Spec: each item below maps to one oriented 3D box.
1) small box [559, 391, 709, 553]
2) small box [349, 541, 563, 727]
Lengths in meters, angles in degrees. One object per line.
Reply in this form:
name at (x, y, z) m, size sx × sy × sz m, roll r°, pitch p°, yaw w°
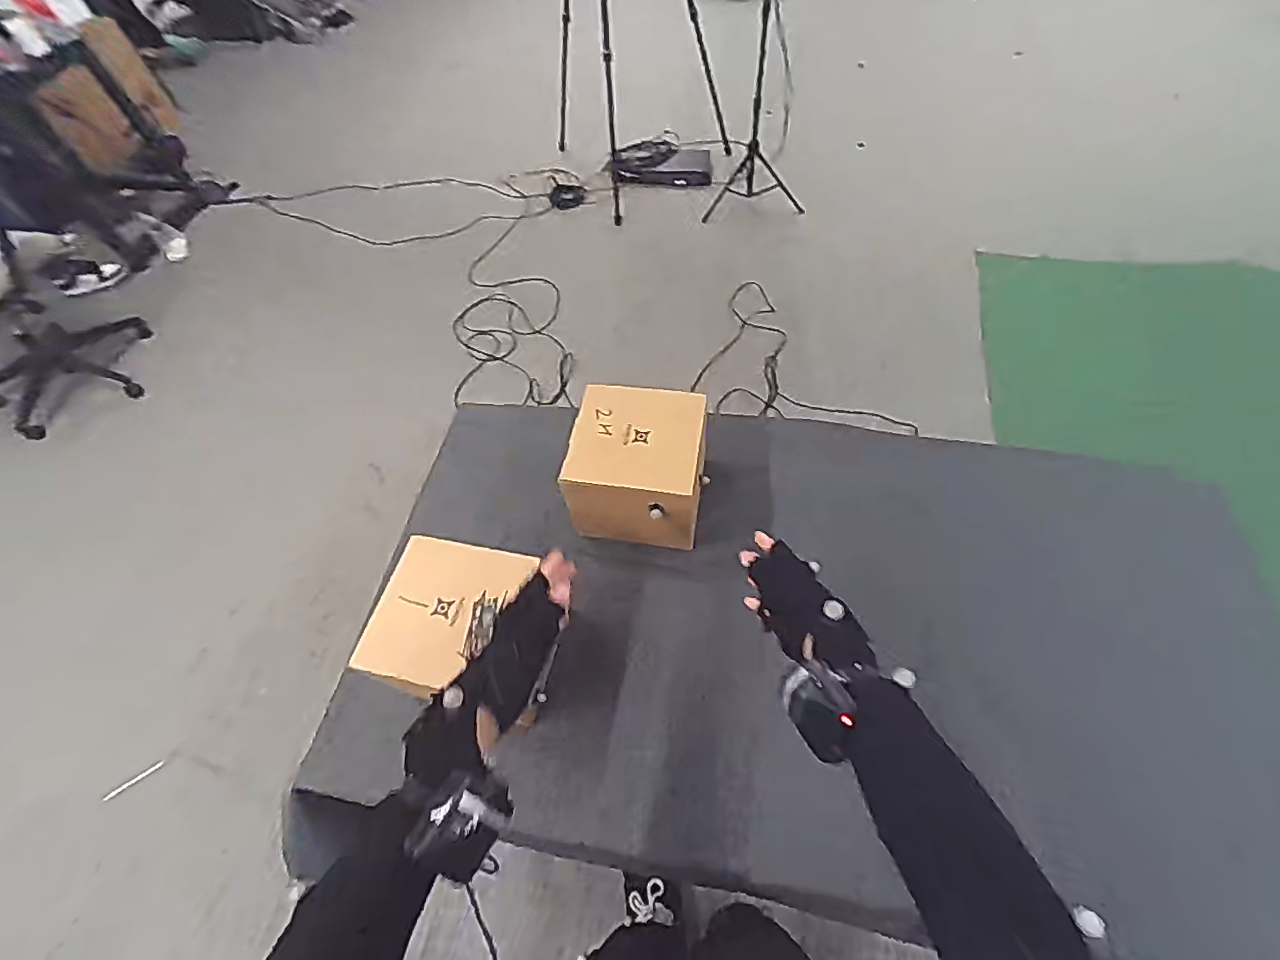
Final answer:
small box at (0.001, -0.006, 0.789) m, size 0.179 × 0.176 × 0.168 m, roll 7°, pitch 59°, yaw 9°
small box at (-0.210, 0.199, 0.678) m, size 0.179 × 0.176 × 0.168 m, roll 9°, pitch 58°, yaw 11°
